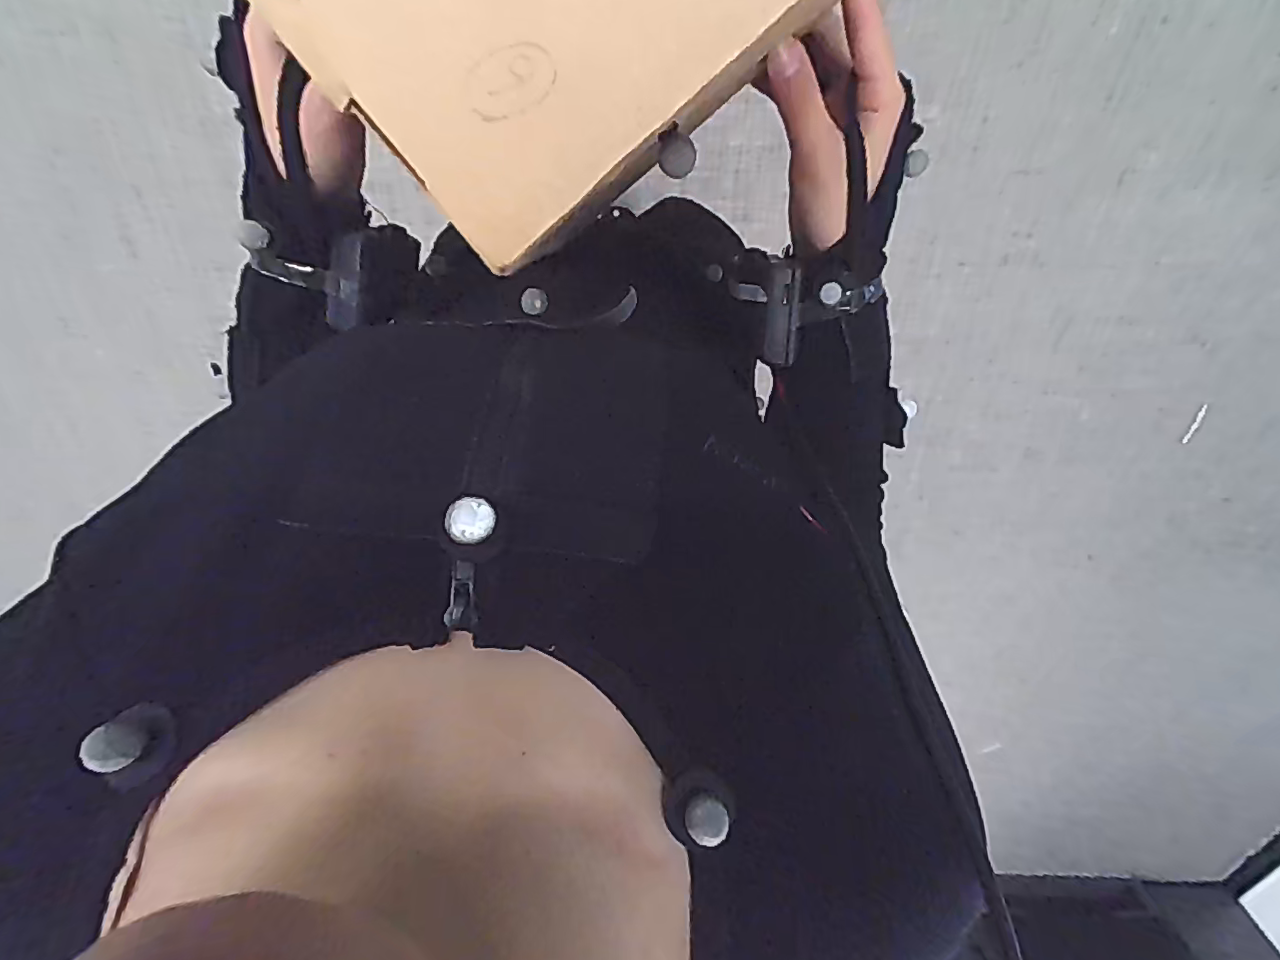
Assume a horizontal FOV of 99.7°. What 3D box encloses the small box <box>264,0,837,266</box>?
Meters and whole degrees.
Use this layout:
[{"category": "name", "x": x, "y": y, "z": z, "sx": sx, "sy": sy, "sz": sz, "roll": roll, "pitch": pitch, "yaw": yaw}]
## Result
[{"category": "small box", "x": -0.026, "y": -0.205, "z": 0.194, "sx": 0.179, "sy": 0.176, "sz": 0.168, "roll": -34, "pitch": 111, "yaw": 16}]
